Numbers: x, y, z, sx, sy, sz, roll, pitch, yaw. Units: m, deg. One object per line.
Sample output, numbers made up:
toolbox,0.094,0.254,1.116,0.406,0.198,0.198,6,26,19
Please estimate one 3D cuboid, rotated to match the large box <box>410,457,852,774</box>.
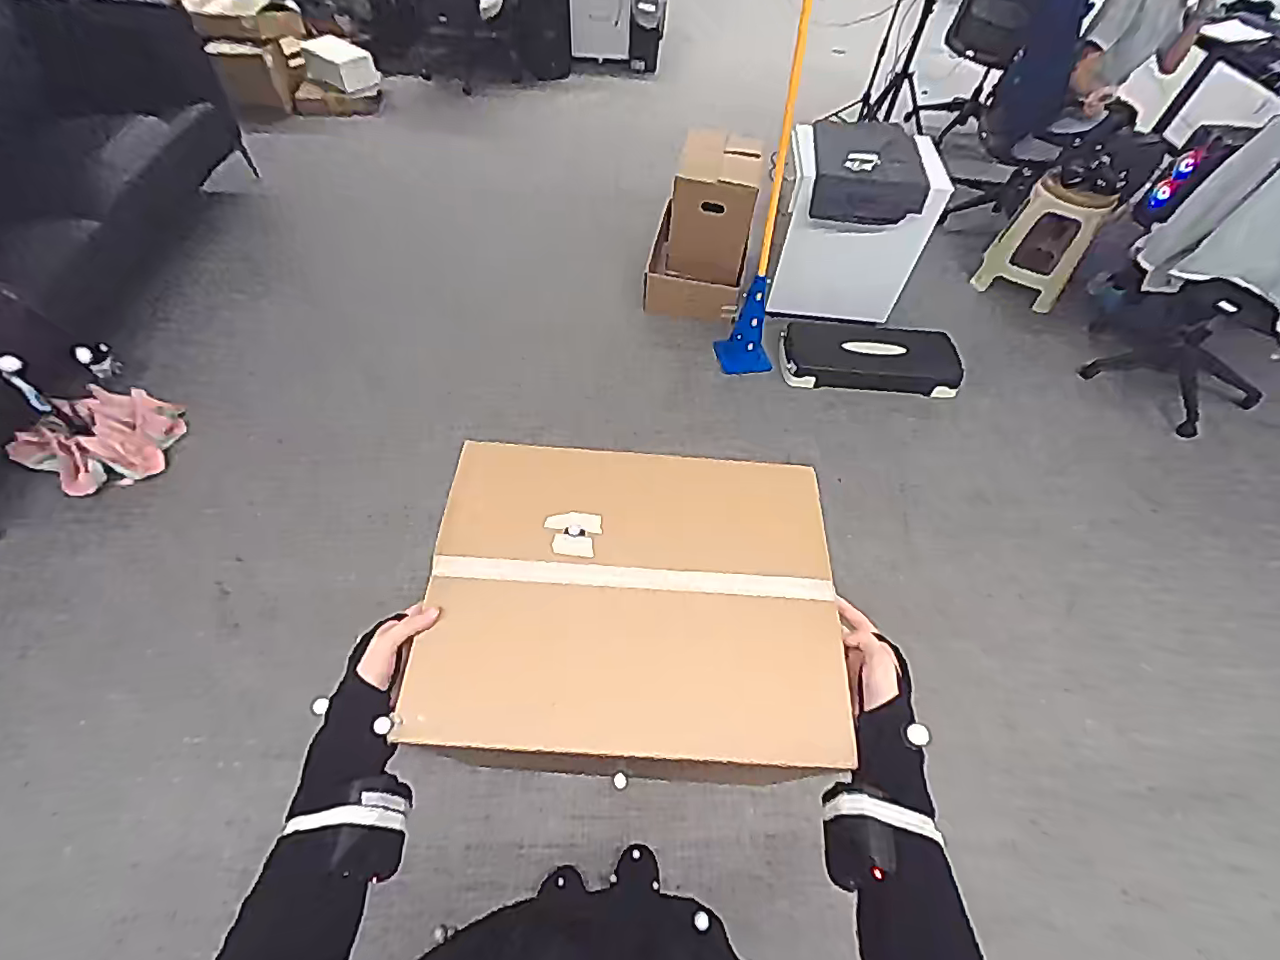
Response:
large box,-0.006,0.188,0.684,0.408,0.320,0.320,3,58,-1
